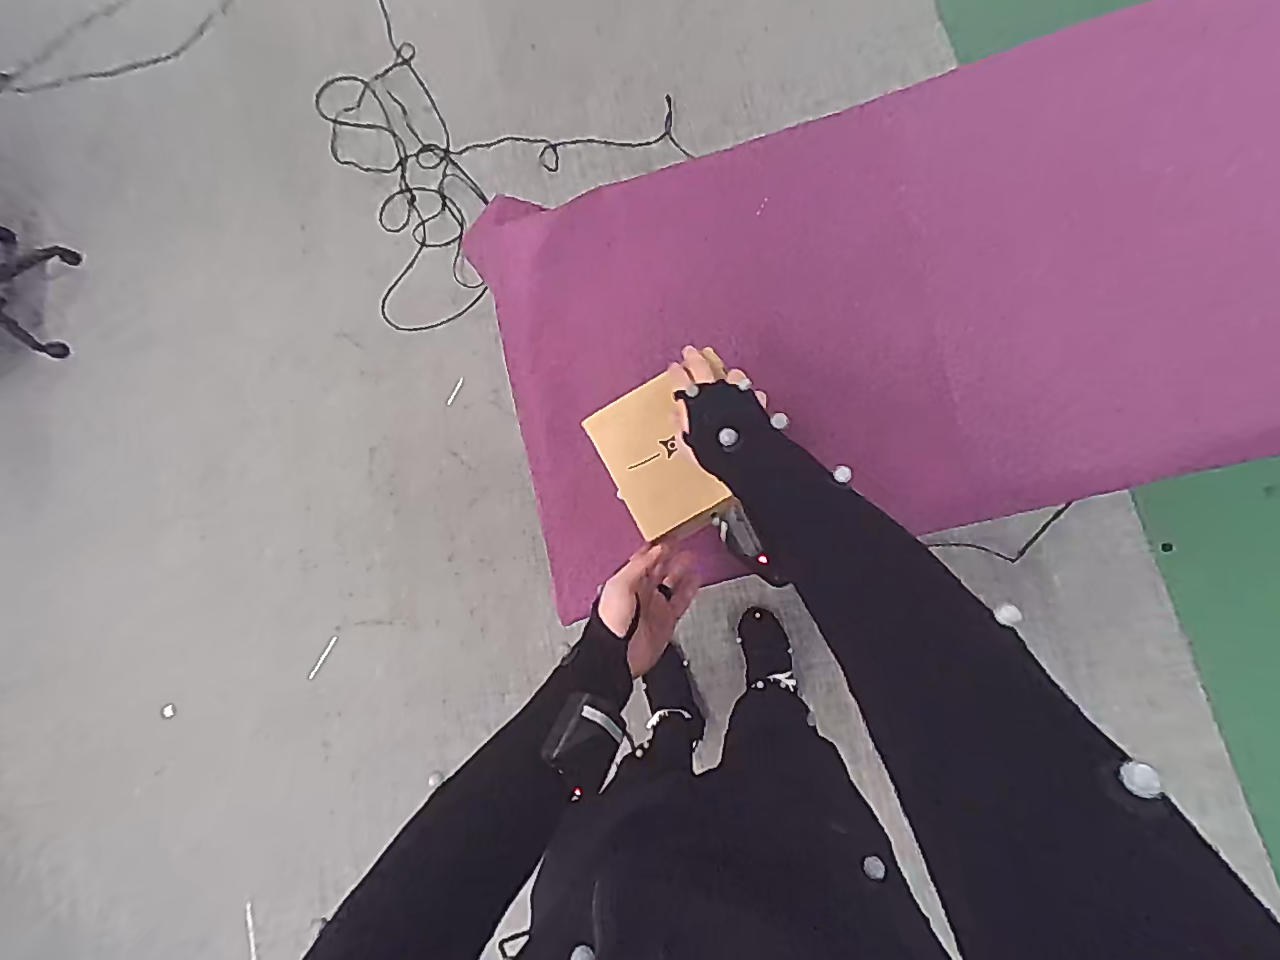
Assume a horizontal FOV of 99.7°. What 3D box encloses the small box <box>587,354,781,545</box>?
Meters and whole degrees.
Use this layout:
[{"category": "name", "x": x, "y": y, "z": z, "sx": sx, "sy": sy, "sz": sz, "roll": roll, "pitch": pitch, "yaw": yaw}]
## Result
[{"category": "small box", "x": 0.059, "y": -0.027, "z": 0.690, "sx": 0.179, "sy": 0.176, "sz": 0.168, "roll": -26, "pitch": 76, "yaw": 5}]
